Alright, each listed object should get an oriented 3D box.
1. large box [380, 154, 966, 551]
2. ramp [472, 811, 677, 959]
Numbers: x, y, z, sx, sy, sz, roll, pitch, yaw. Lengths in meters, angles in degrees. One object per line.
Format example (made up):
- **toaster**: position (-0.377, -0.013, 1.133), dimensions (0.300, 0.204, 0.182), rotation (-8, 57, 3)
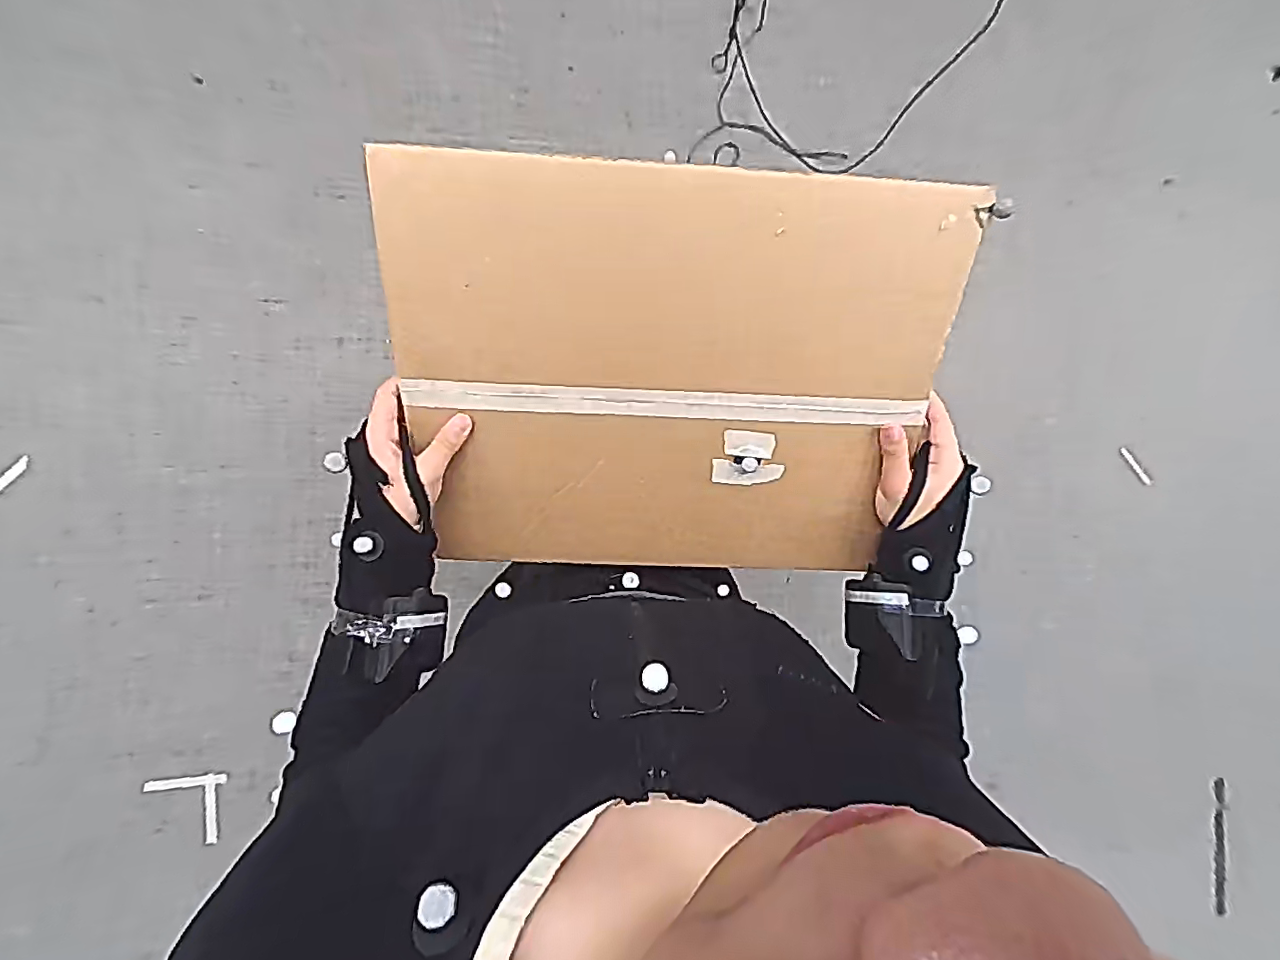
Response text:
- **large box**: position (0.013, -0.141, 0.560), dimensions (0.408, 0.320, 0.320), rotation (1, 119, -4)
- **ramp**: position (-0.146, 1.342, 1.255), dimensions (0.509, 0.206, 0.991), rotation (-2, 88, -7)
